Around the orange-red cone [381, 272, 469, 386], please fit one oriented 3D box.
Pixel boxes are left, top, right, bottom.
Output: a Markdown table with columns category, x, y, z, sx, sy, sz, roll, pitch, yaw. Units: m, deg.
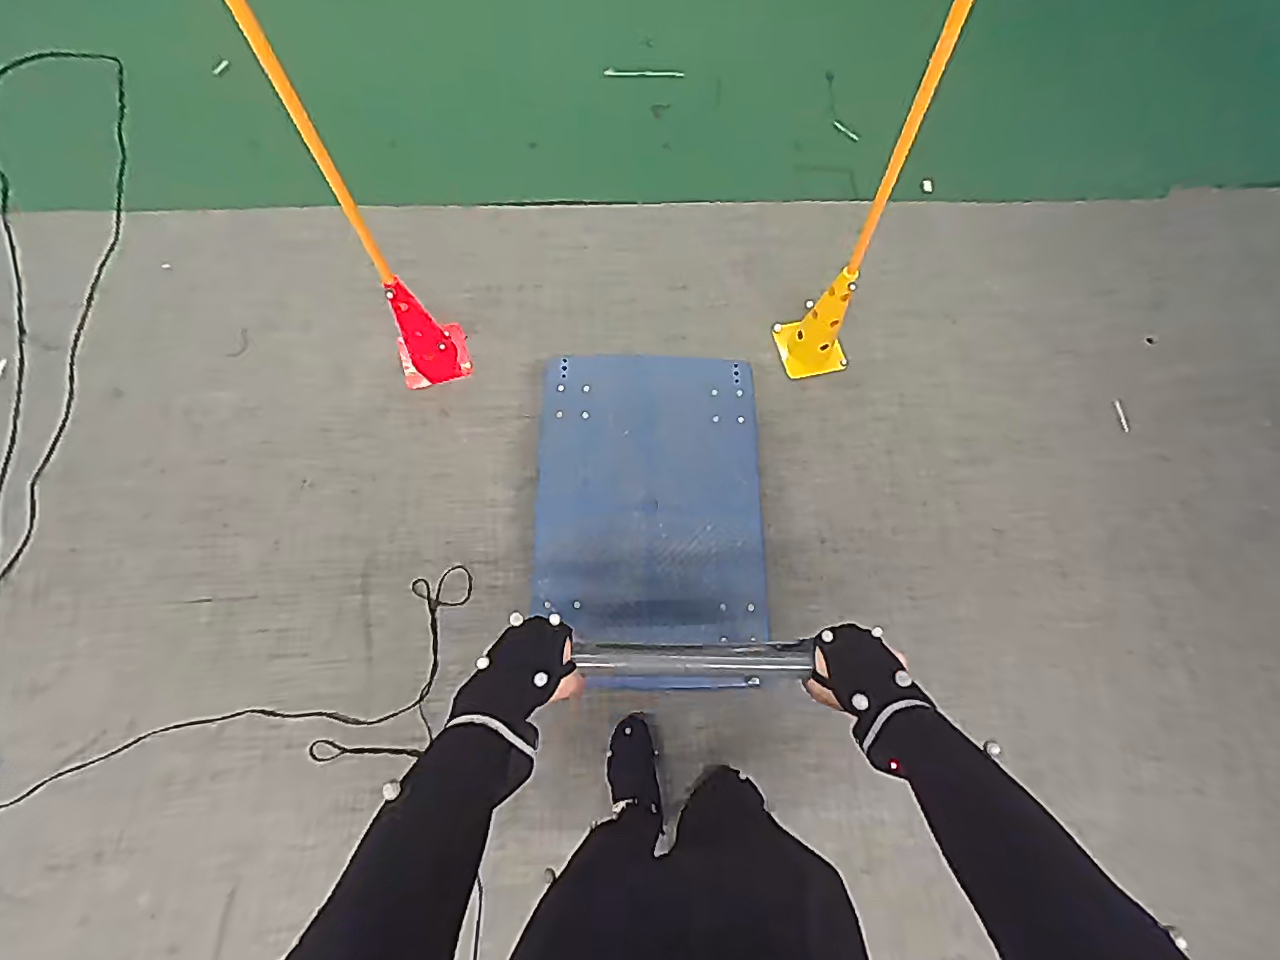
| category | x | y | z | sx | sy | sz | roll | pitch | yaw |
| --- | --- | --- | --- | --- | --- | --- | --- | --- | --- |
| orange-red cone | -0.635 | -0.447 | 1.514 | 0.199 | 0.360 | 0.198 | -16 | 72 | -6 |
